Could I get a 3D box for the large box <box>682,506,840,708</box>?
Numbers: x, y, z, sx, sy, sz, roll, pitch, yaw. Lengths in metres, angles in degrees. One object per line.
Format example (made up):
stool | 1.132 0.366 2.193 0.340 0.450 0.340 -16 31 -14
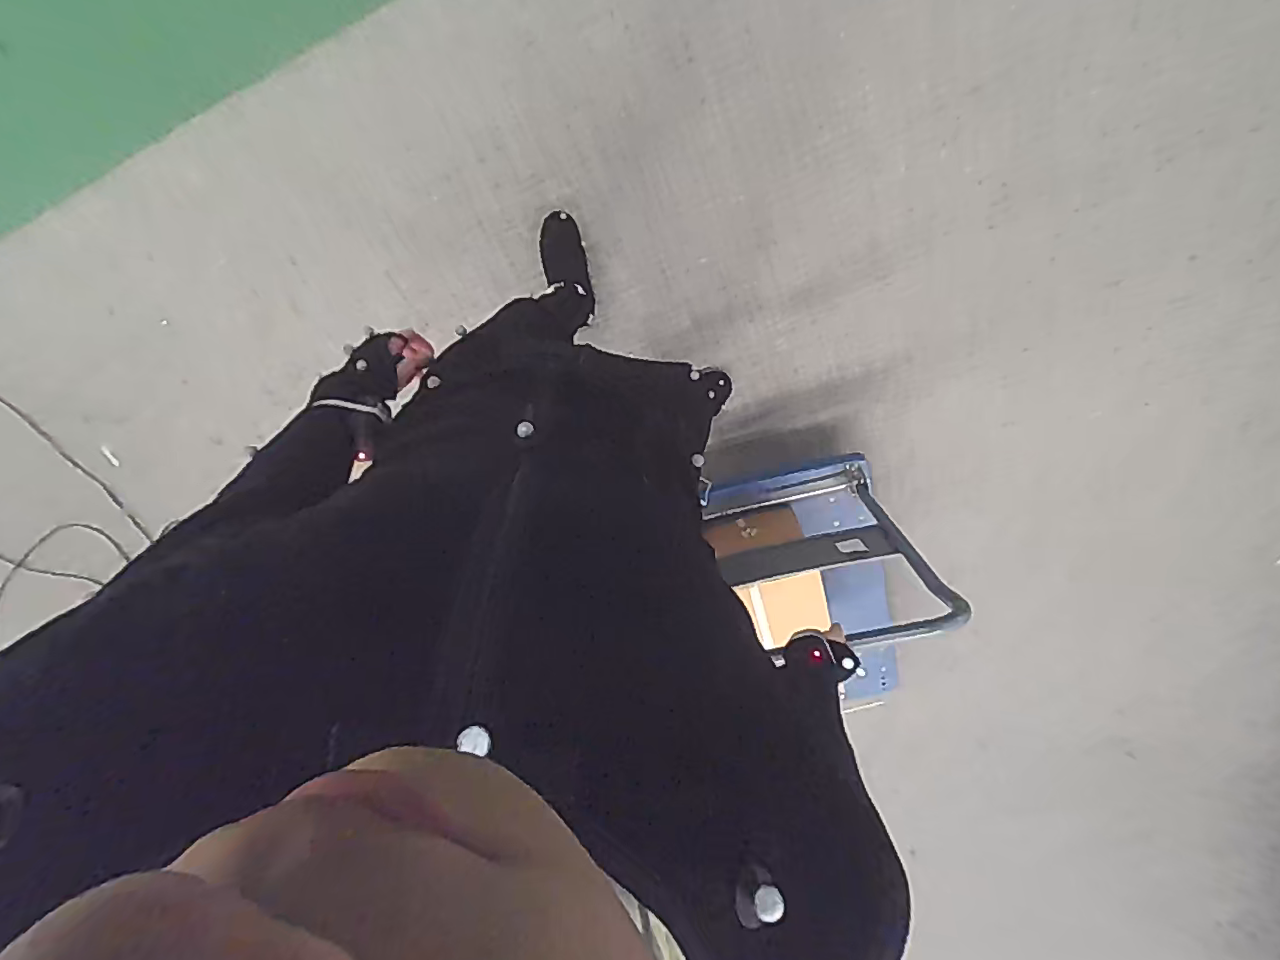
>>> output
large box | 0.321 0.341 1.486 0.320 0.320 0.408 -15 114 10
